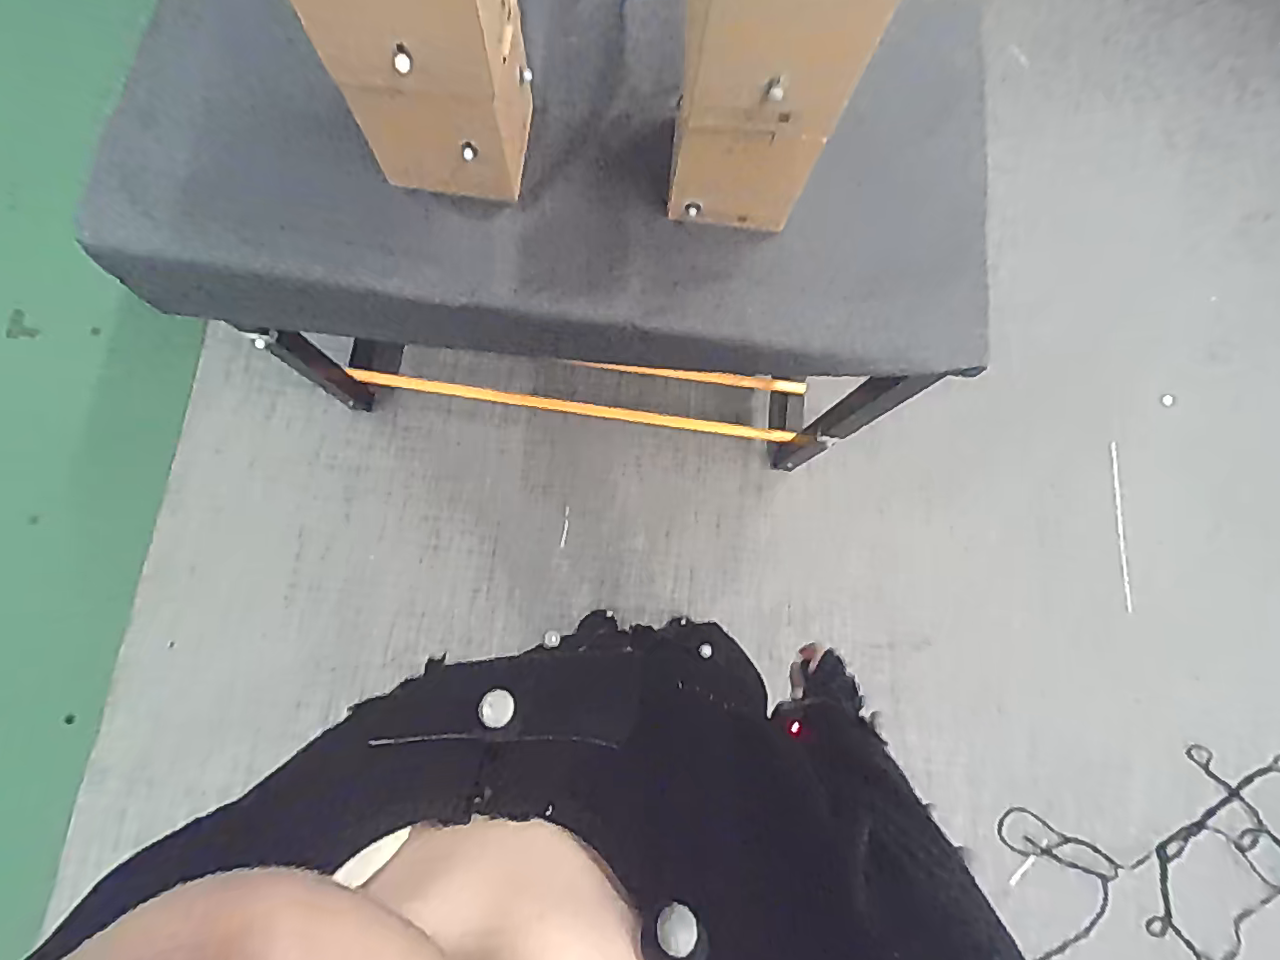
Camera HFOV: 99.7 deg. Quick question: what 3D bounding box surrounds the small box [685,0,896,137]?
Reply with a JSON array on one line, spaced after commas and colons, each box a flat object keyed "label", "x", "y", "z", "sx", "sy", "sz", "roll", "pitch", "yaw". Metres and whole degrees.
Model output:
[{"label": "small box", "x": 0.138, "y": -0.490, "z": 0.542, "sx": 0.168, "sy": 0.176, "sz": 0.179, "roll": 0, "pitch": 78, "yaw": -4}]

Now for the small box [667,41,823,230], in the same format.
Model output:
[{"label": "small box", "x": 0.129, "y": -0.457, "z": 0.703, "sx": 0.168, "sy": 0.176, "sz": 0.179, "roll": 6, "pitch": 77, "yaw": -3}]

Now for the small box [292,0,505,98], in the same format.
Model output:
[{"label": "small box", "x": -0.231, "y": -0.510, "z": 0.519, "sx": 0.179, "sy": 0.176, "sz": 0.168, "roll": 3, "pitch": 77, "yaw": -4}]

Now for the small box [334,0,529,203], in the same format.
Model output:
[{"label": "small box", "x": -0.243, "y": -0.481, "z": 0.681, "sx": 0.179, "sy": 0.176, "sz": 0.168, "roll": 6, "pitch": 77, "yaw": -3}]
